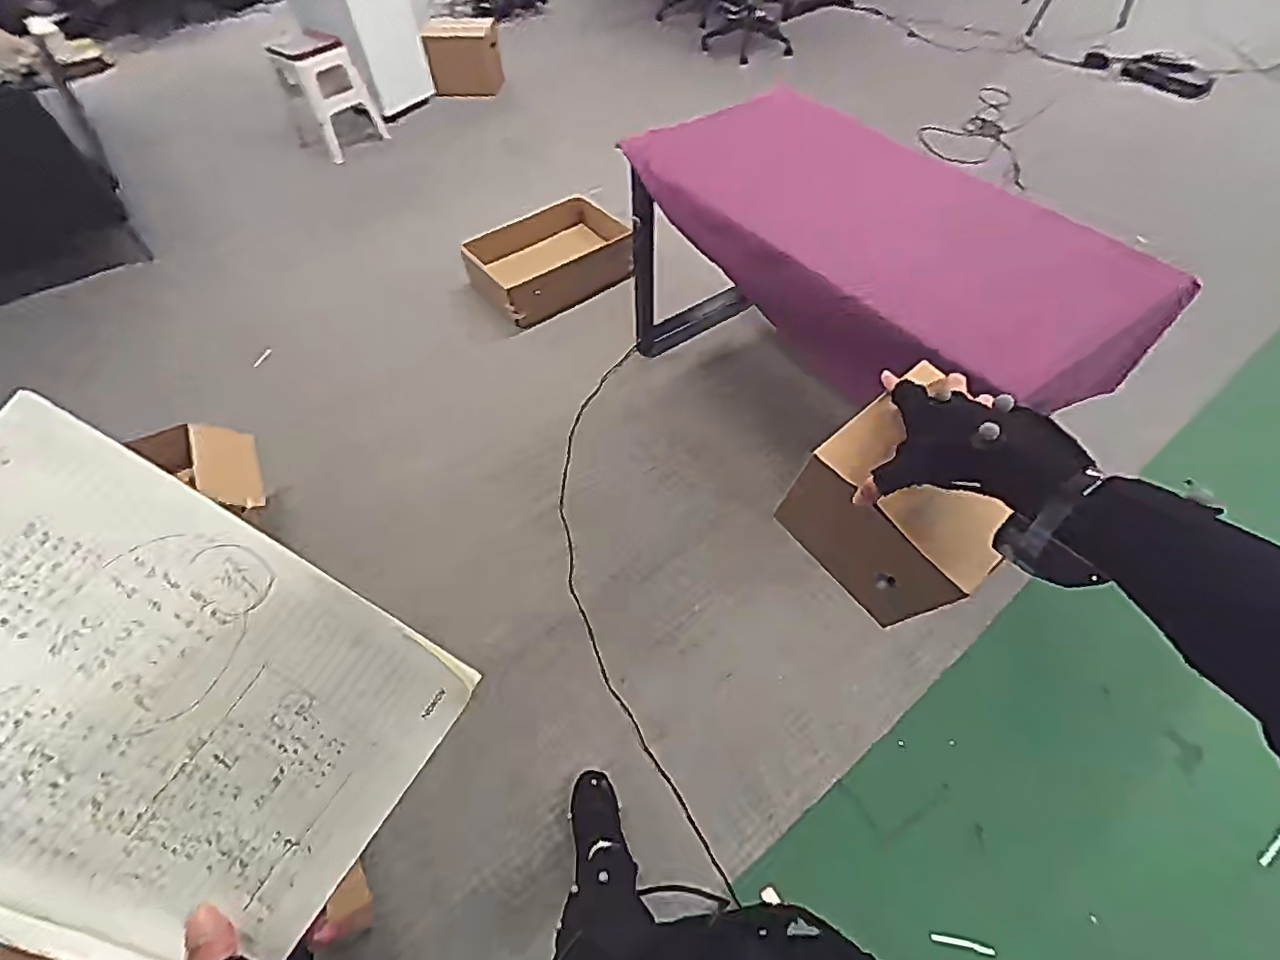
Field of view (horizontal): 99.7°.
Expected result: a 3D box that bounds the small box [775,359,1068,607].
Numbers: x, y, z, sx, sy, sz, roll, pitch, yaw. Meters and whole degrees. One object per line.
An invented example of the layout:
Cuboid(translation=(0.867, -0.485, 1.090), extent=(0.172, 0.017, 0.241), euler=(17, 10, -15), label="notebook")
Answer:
Cuboid(translation=(0.273, 0.016, 0.569), extent=(0.168, 0.176, 0.179), euler=(-36, 71, -16), label="small box")
